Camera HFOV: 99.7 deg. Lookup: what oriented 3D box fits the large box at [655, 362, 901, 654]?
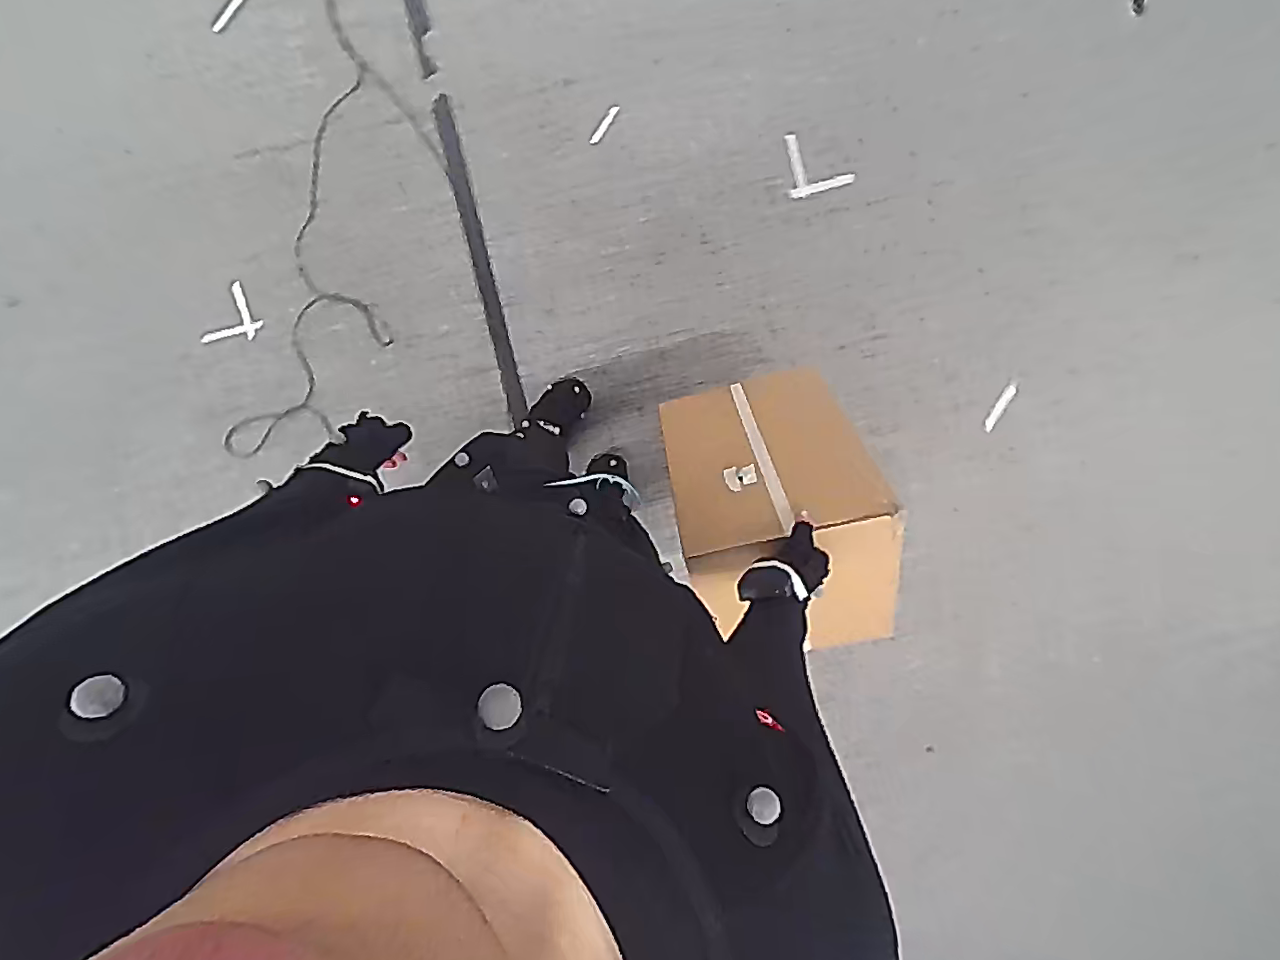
[{"bbox_3d":[0.237,0.046,1.011,0.320,0.408,0.320,-16,132,7],"label":"large box"}]
